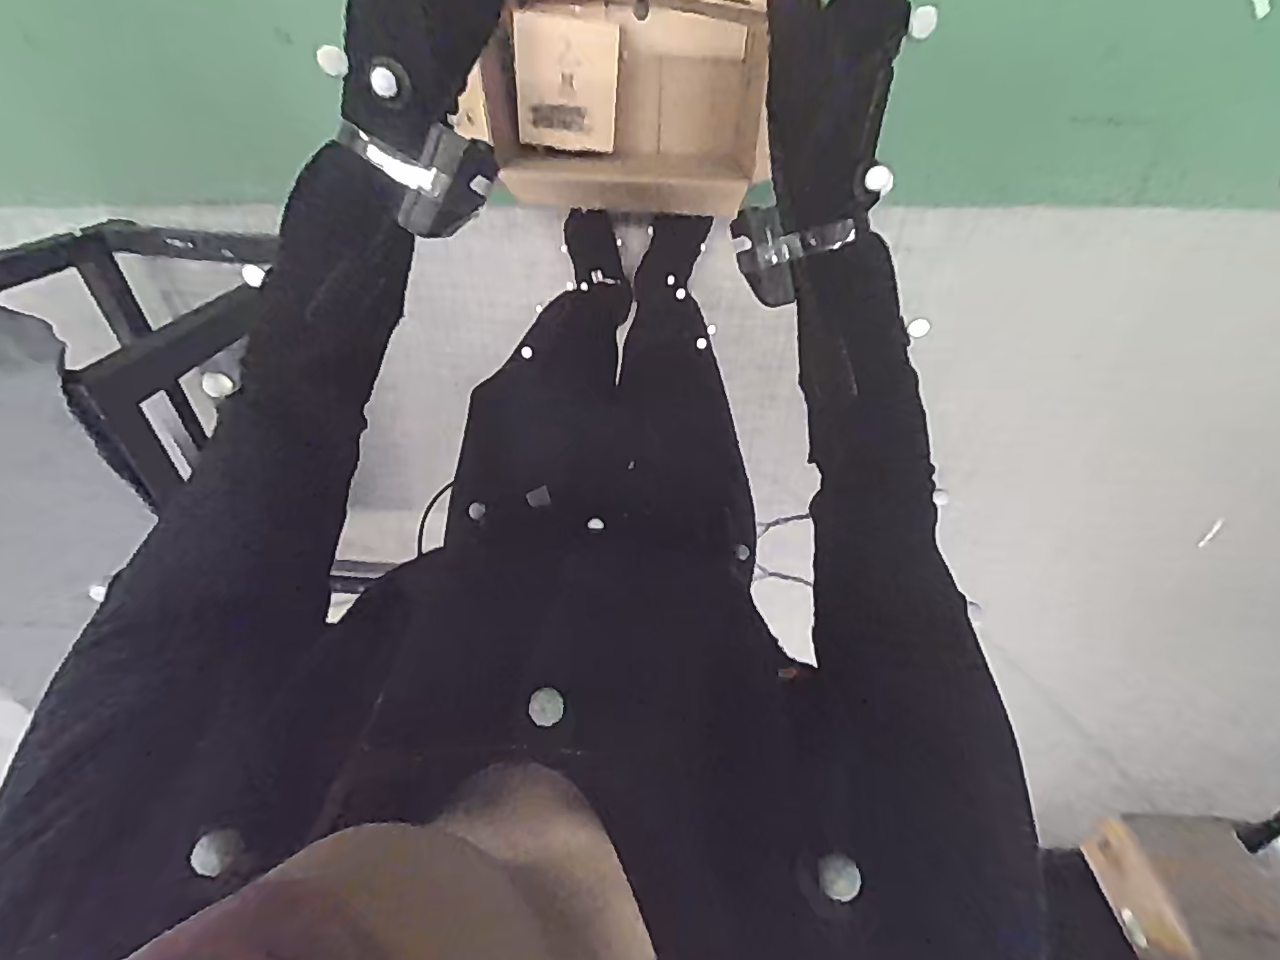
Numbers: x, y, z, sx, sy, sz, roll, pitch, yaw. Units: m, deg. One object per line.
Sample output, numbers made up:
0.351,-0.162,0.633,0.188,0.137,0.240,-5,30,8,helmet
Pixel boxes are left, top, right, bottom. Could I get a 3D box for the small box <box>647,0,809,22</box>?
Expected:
0.028,-0.387,0.304,0.168,0.176,0.179,8,130,-5,small box
